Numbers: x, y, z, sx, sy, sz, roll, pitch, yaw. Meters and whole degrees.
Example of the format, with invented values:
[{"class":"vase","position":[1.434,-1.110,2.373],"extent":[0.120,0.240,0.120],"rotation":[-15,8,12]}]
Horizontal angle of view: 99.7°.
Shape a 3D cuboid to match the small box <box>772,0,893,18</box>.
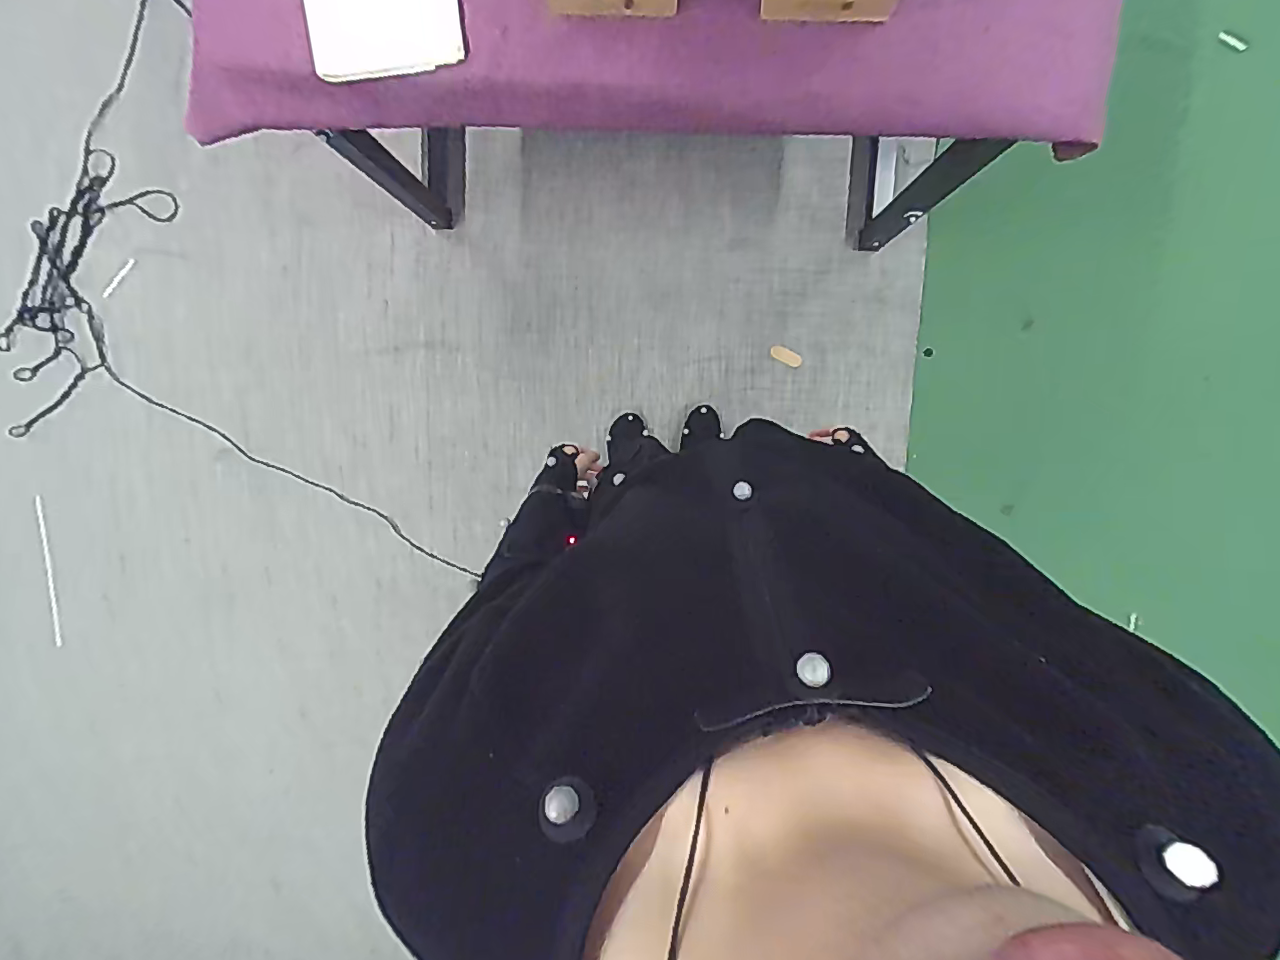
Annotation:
[{"class":"small box","position":[0.239,-0.672,0.609],"extent":[0.168,0.176,0.179],"rotation":[4,95,1]}]
